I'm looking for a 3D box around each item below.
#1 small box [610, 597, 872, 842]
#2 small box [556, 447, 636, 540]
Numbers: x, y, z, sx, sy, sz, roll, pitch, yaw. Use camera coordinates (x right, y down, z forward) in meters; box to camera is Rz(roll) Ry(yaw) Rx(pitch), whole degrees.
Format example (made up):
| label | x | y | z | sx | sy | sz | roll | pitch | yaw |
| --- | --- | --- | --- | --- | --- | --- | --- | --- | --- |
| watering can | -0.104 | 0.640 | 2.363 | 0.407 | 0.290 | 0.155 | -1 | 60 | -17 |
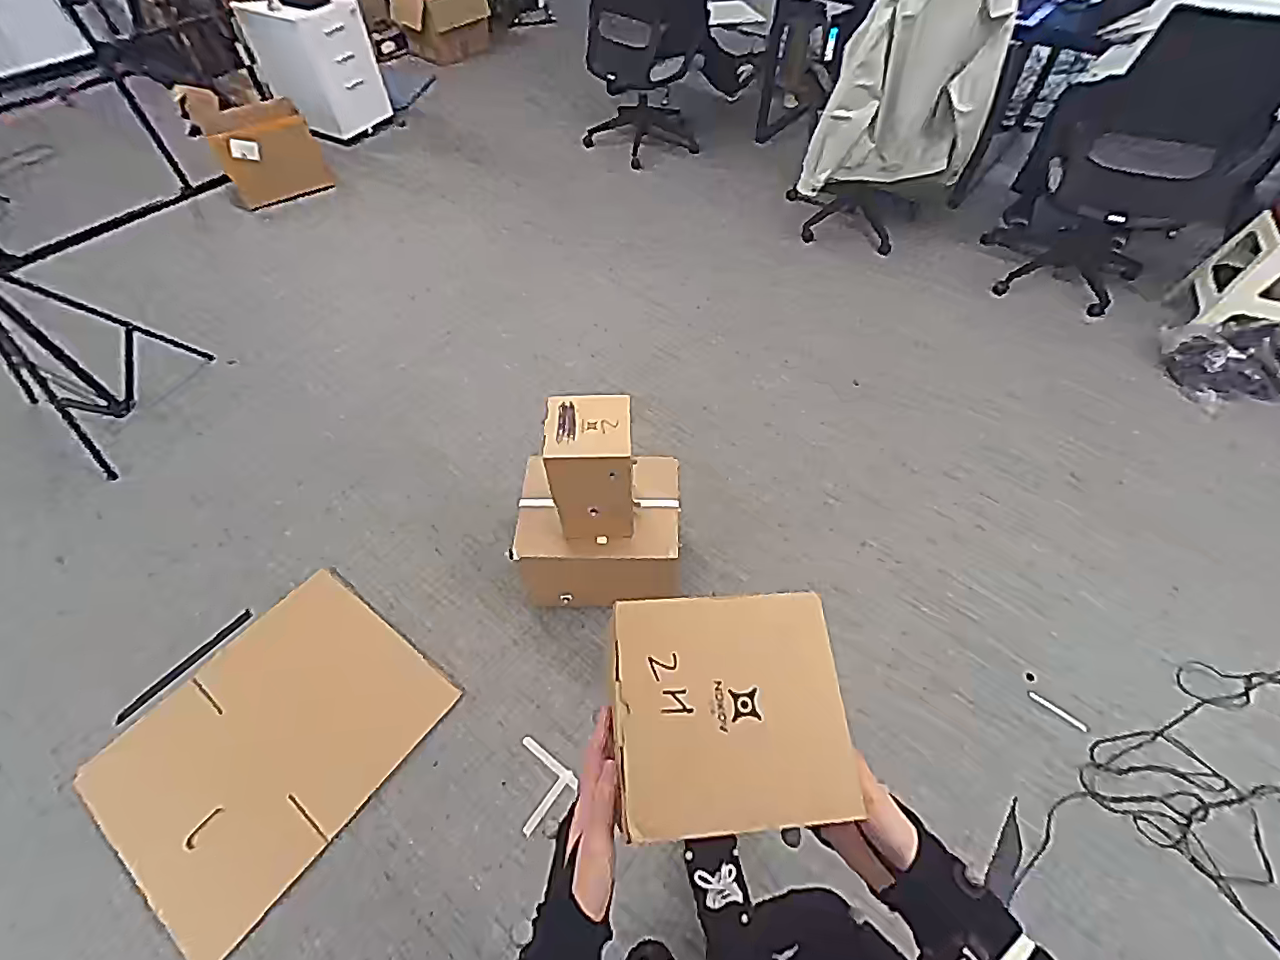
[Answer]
| label | x | y | z | sx | sy | sz | roll | pitch | yaw |
| --- | --- | --- | --- | --- | --- | --- | --- | --- | --- |
| small box | 0.068 | 0.205 | 0.479 | 0.179 | 0.176 | 0.168 | -1 | 63 | -7 |
| small box | -0.100 | 0.036 | 1.301 | 0.179 | 0.176 | 0.168 | -1 | 56 | -2 |
